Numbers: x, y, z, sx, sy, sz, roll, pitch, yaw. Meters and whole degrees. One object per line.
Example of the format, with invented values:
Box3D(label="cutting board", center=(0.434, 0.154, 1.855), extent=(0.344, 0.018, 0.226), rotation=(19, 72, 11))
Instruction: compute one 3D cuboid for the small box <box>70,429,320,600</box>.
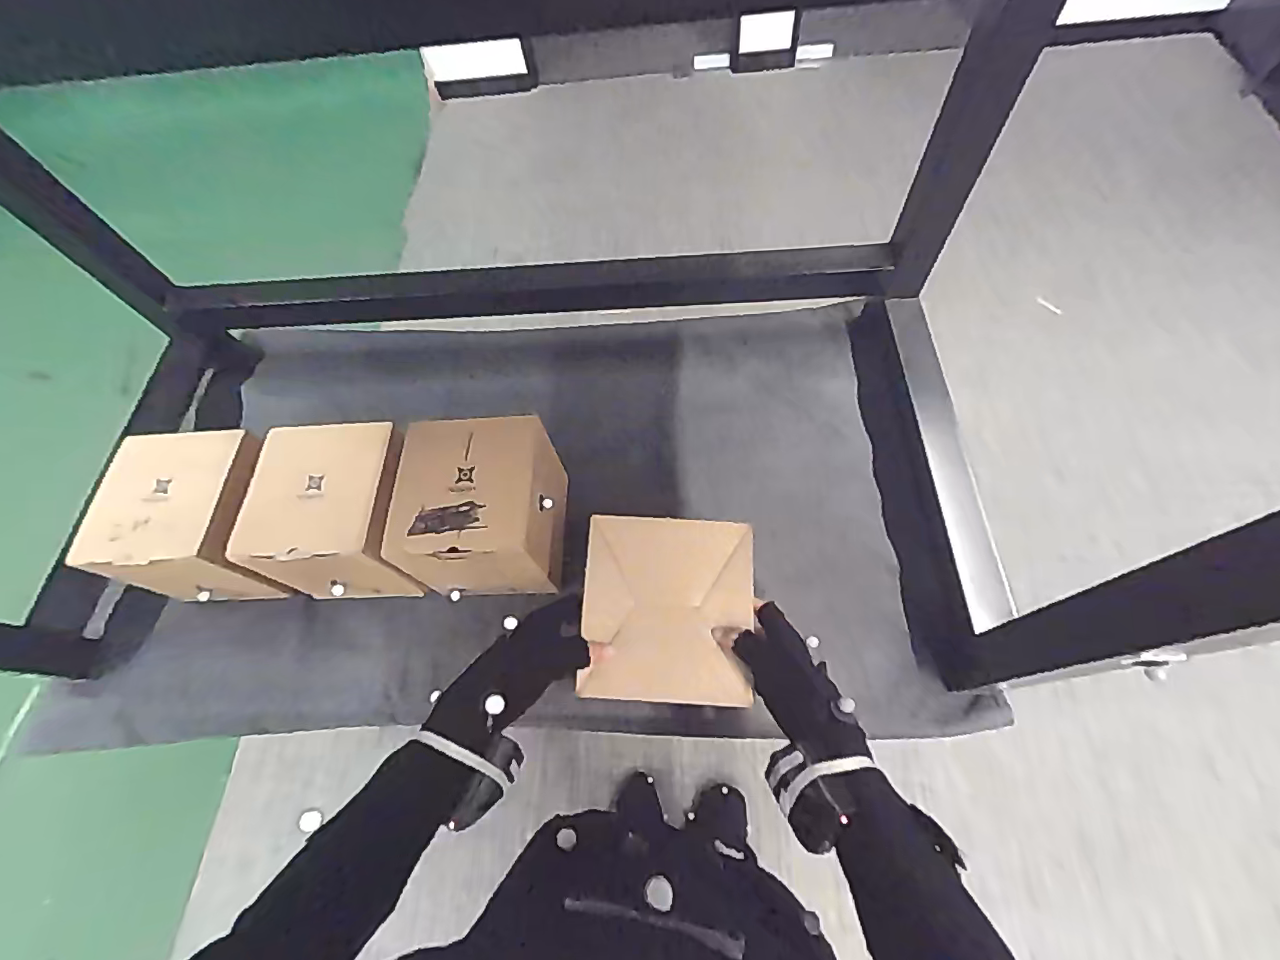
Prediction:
Box3D(label="small box", center=(-0.568, 0.052, 0.724), extent=(0.168, 0.176, 0.179), rotation=(-3, 63, 5))
